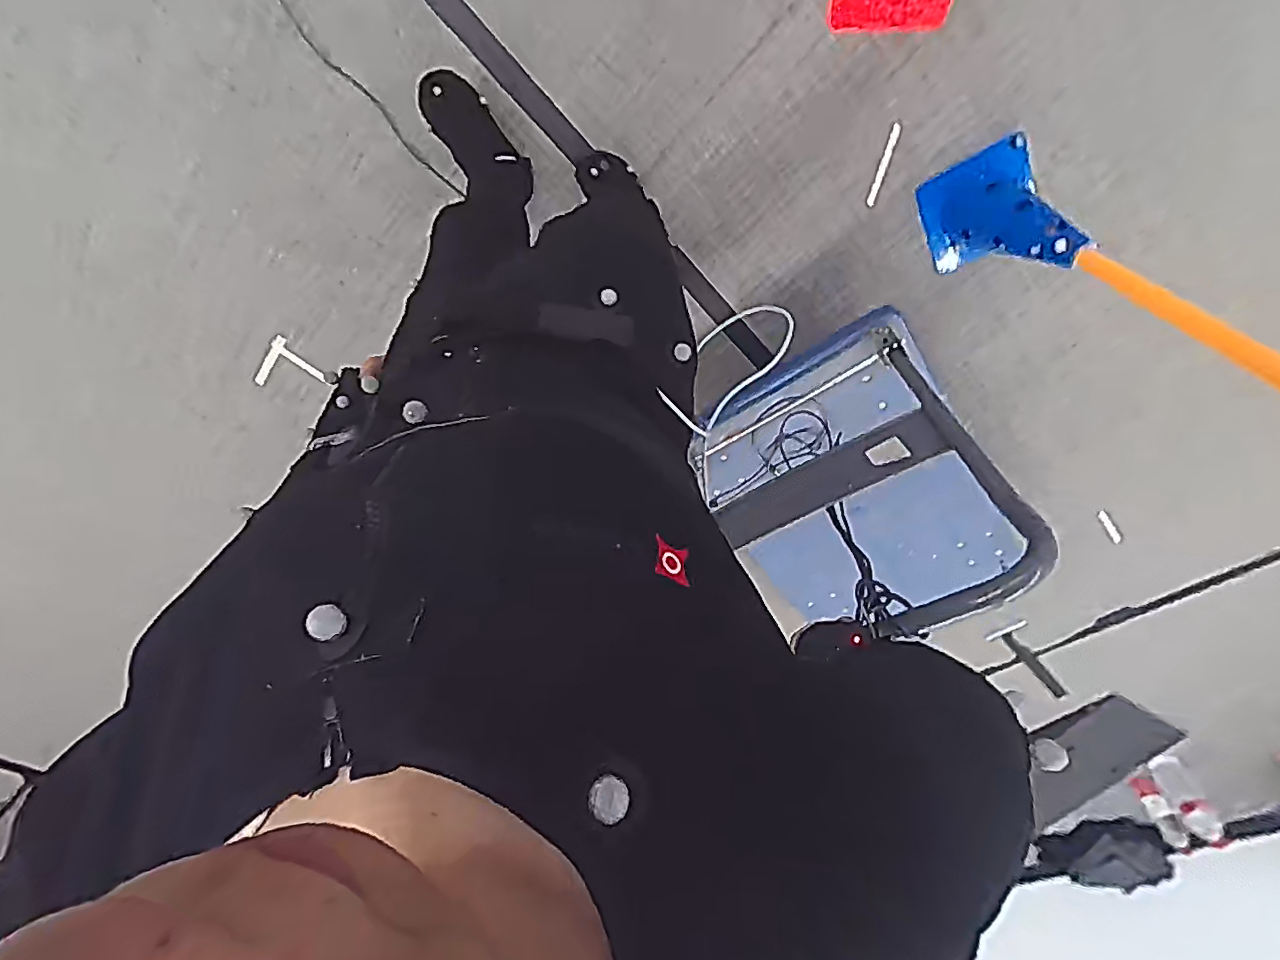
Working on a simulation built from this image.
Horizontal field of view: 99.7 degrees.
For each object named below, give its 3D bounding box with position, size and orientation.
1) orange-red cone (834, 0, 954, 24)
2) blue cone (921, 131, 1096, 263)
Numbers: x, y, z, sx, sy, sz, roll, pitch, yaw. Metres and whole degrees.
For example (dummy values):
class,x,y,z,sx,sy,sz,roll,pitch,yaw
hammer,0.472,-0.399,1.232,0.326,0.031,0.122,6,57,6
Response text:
class,x,y,z,sx,sy,sz,roll,pitch,yaw
orange-red cone,0.412,-0.744,0.720,0.198,0.360,0.199,3,128,2
blue cone,0.663,-0.453,0.940,0.193,0.380,0.192,-23,121,20
